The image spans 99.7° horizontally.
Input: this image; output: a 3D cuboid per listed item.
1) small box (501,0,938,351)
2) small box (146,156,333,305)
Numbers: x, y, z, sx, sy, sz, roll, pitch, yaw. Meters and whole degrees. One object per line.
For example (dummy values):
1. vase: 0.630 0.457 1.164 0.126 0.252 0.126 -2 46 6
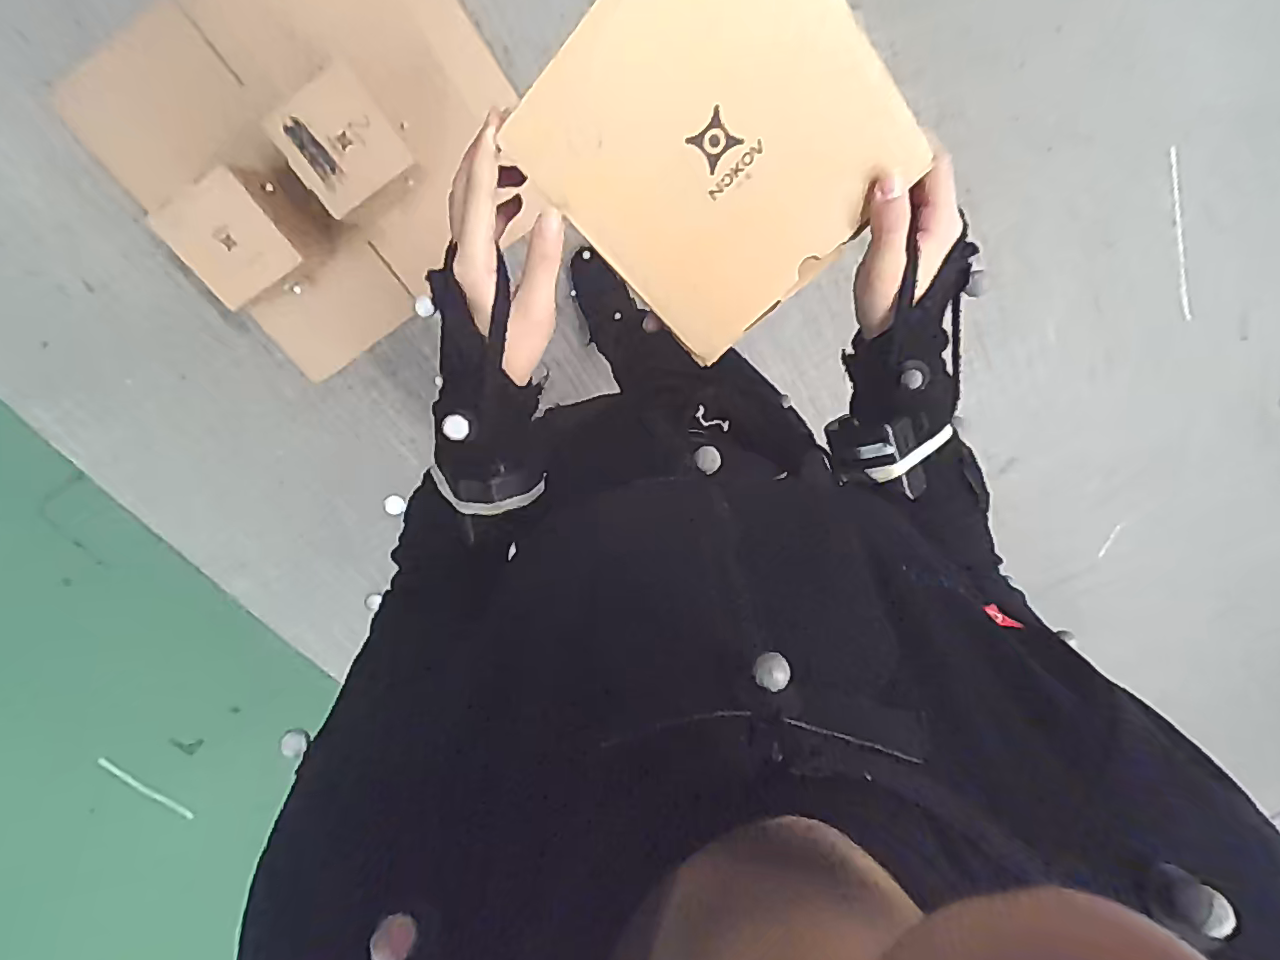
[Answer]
1. small box: 0.041 -0.220 0.352 0.168 0.176 0.179 -40 115 20
2. small box: -0.703 -0.443 0.975 0.168 0.176 0.179 -32 116 6
